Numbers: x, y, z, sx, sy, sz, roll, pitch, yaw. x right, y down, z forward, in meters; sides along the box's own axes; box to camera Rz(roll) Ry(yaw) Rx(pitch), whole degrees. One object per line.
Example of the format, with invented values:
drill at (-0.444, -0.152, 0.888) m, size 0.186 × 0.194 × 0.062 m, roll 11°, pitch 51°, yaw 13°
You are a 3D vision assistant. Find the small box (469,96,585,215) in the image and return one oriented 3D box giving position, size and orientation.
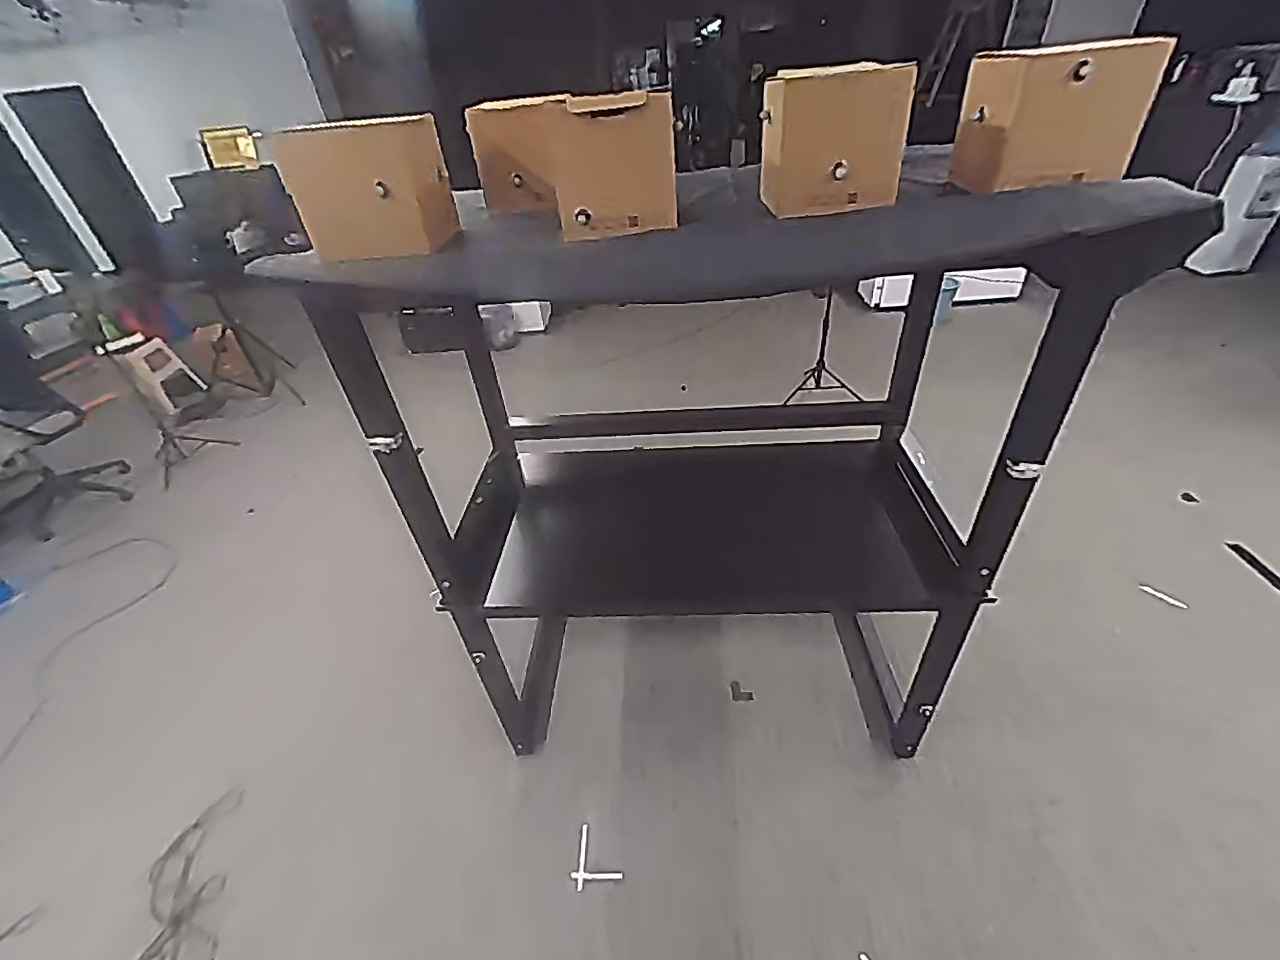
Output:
small box at (-0.201, -0.609, 1.017) m, size 0.168 × 0.176 × 0.179 m, roll -4°, pitch 38°, yaw 4°

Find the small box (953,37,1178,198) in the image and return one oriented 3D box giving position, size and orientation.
small box at (0.576, -0.508, 0.768) m, size 0.168 × 0.176 × 0.179 m, roll -2°, pitch 36°, yaw 7°

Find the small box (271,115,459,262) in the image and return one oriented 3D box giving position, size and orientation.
small box at (-0.393, -0.439, 0.815) m, size 0.179 × 0.176 × 0.168 m, roll -3°, pitch 37°, yaw 3°

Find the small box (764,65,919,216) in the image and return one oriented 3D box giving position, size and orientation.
small box at (0.278, -0.495, 0.794) m, size 0.168 × 0.176 × 0.179 m, roll -3°, pitch 36°, yaw 5°
